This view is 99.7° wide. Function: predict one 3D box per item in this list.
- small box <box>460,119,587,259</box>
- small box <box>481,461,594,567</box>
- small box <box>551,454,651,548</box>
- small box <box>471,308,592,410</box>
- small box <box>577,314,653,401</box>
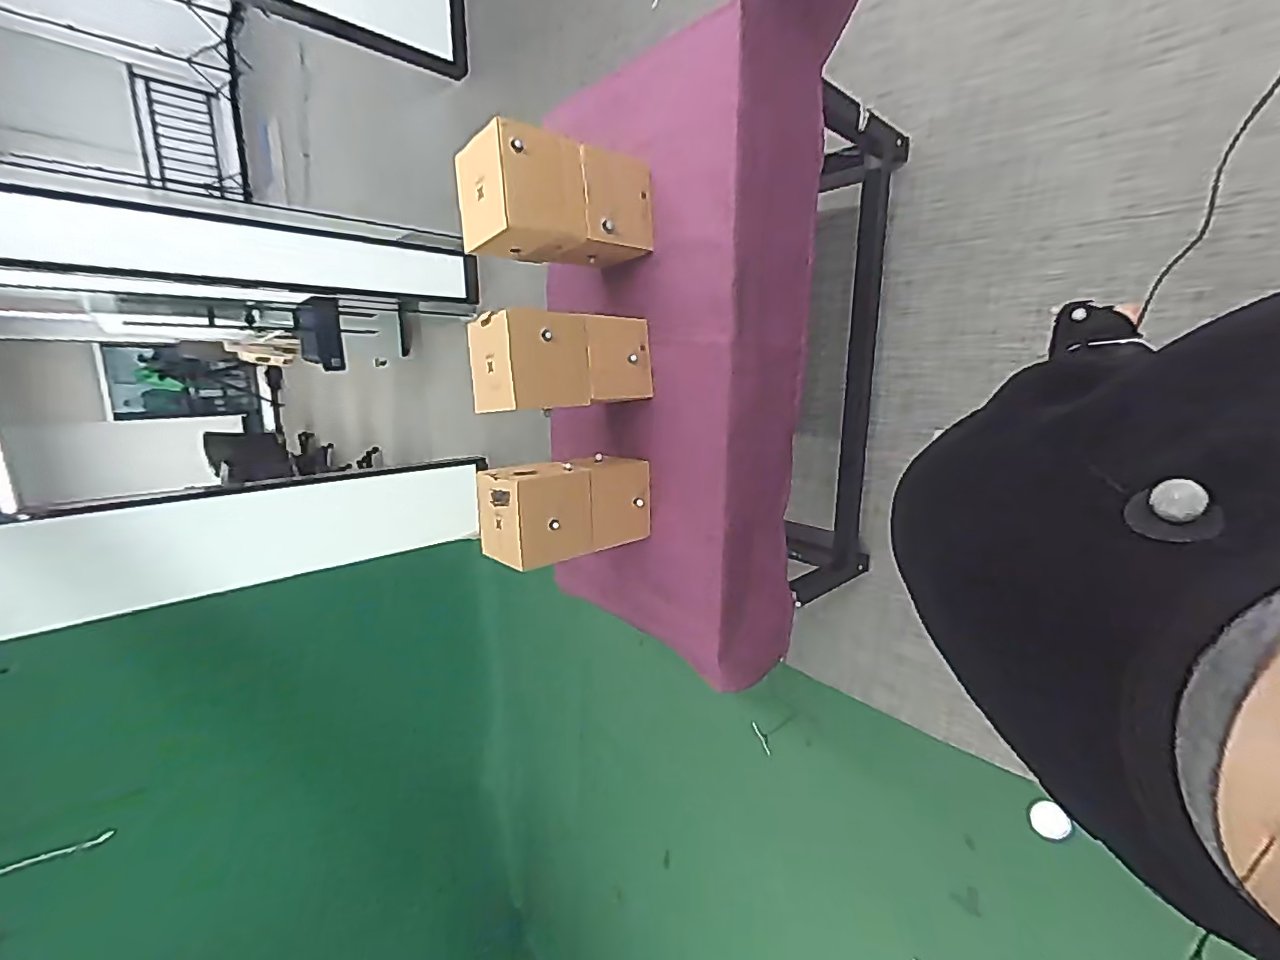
[{"bbox_3d":[-0.212,-0.521,1.004,0.168,0.176,0.179,4,100,48],"label":"small box"},{"bbox_3d":[-0.208,0.059,1.118,0.168,0.176,0.179,10,106,46],"label":"small box"},{"bbox_3d":[-0.087,0.037,1.226,0.168,0.176,0.179,10,106,47],"label":"small box"},{"bbox_3d":[-0.210,-0.231,1.063,0.168,0.176,0.179,5,103,48],"label":"small box"},{"bbox_3d":[-0.092,-0.257,1.172,0.179,0.176,0.168,2,100,47],"label":"small box"}]
